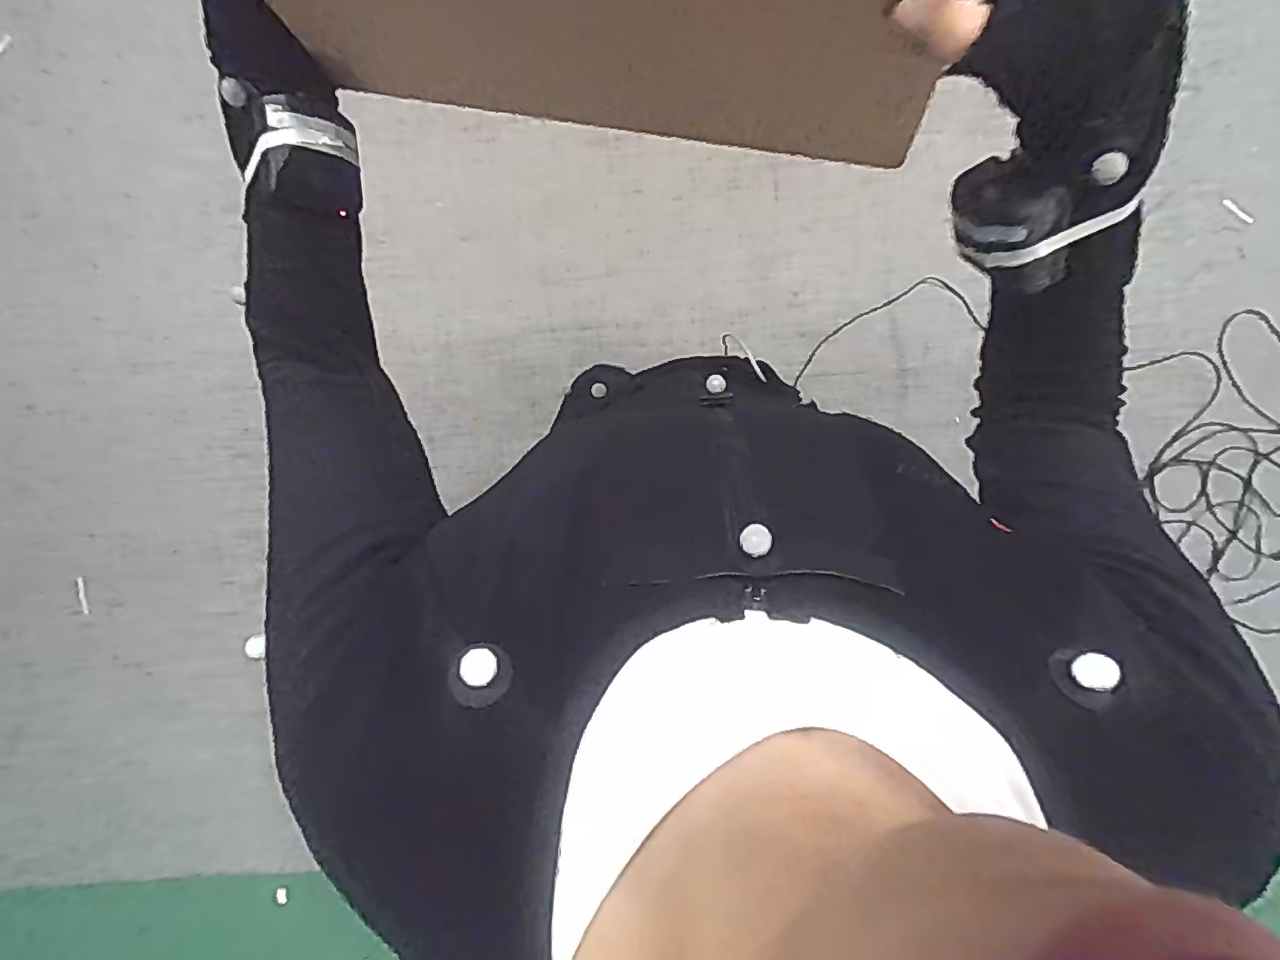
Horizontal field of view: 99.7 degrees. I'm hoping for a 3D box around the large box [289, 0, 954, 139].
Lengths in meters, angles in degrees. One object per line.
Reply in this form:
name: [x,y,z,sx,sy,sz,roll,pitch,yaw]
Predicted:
large box: [-0.017,-0.412,0.227,0.408,0.320,0.320,17,85,12]
